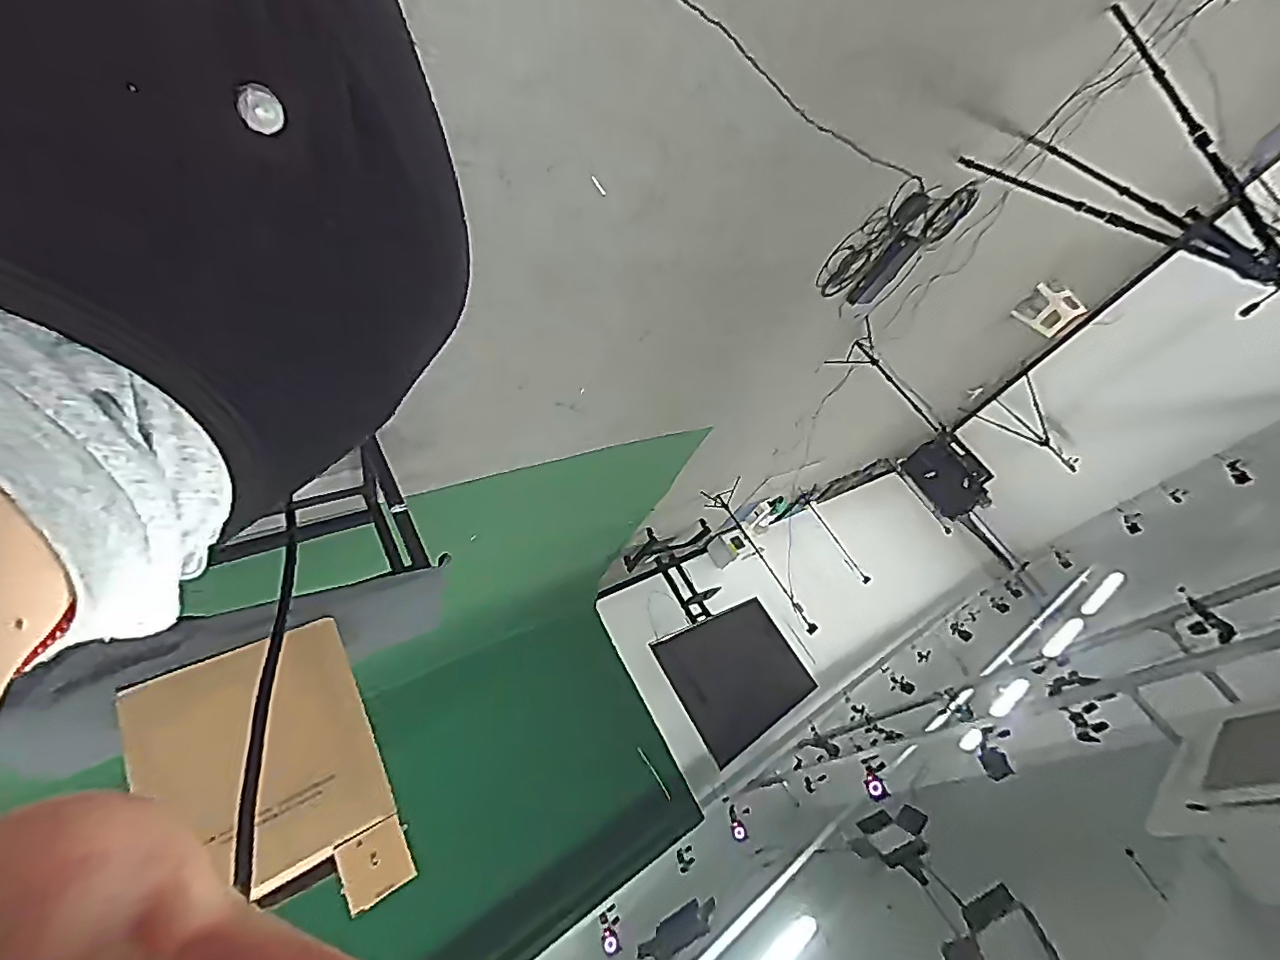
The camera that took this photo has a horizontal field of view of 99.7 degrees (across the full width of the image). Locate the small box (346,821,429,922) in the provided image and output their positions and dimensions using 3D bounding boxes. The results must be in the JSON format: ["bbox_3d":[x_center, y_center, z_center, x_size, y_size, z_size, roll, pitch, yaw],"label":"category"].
[{"bbox_3d":[-0.706,1.090,1.514,0.168,0.176,0.179,-19,154,-33],"label":"small box"}]
